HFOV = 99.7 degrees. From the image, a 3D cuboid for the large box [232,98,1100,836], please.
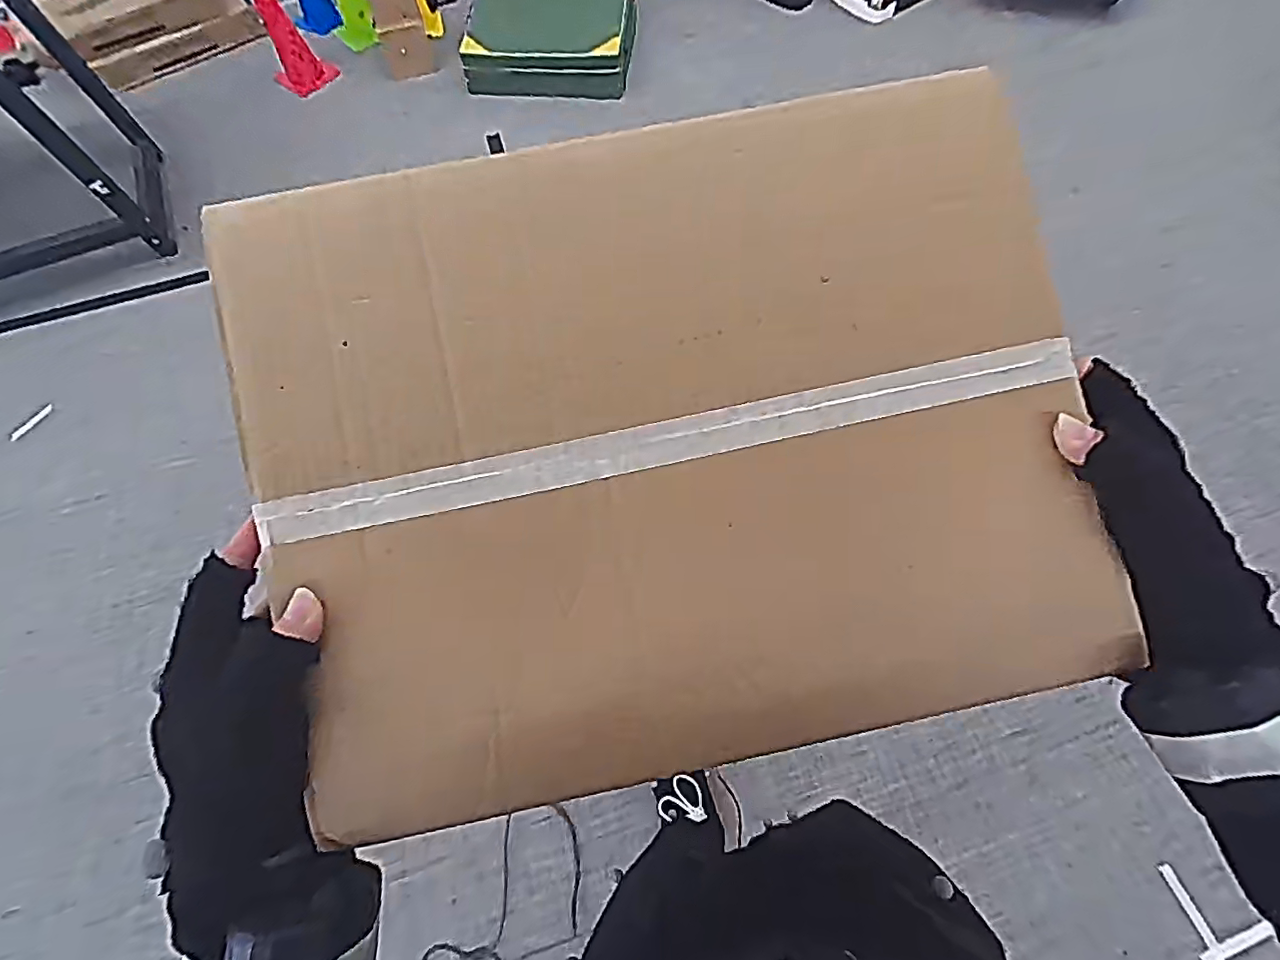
[{"bbox_3d":[0.012,-0.010,0.425,0.408,0.320,0.320,-12,87,-3],"label":"large box"}]
